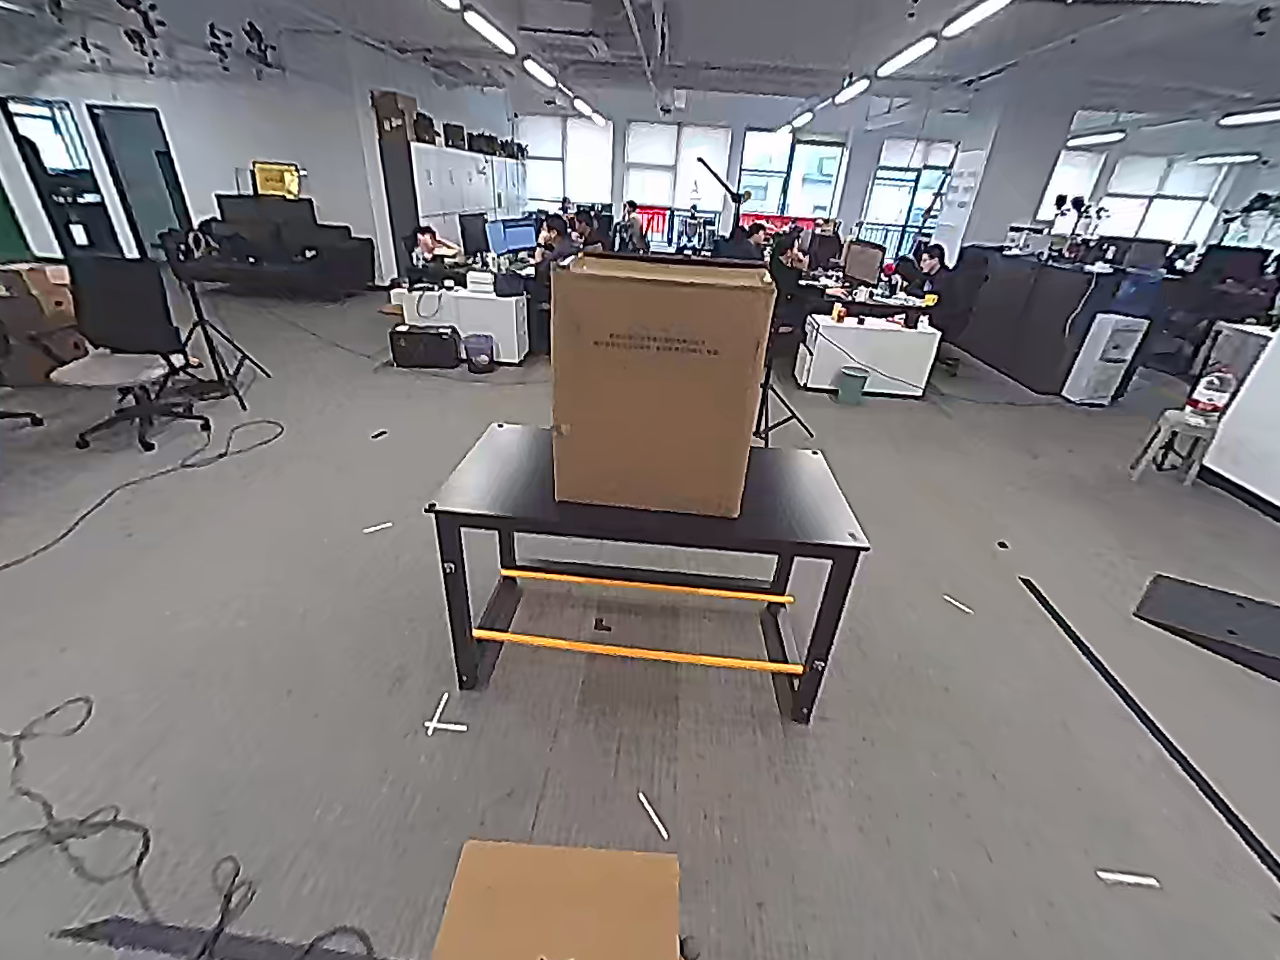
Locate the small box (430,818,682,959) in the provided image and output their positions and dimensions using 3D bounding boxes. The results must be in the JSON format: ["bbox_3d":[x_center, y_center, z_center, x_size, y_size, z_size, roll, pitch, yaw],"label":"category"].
[{"bbox_3d":[-0.057,0.382,0.391,0.168,0.176,0.179,2,34,2],"label":"small box"}]
